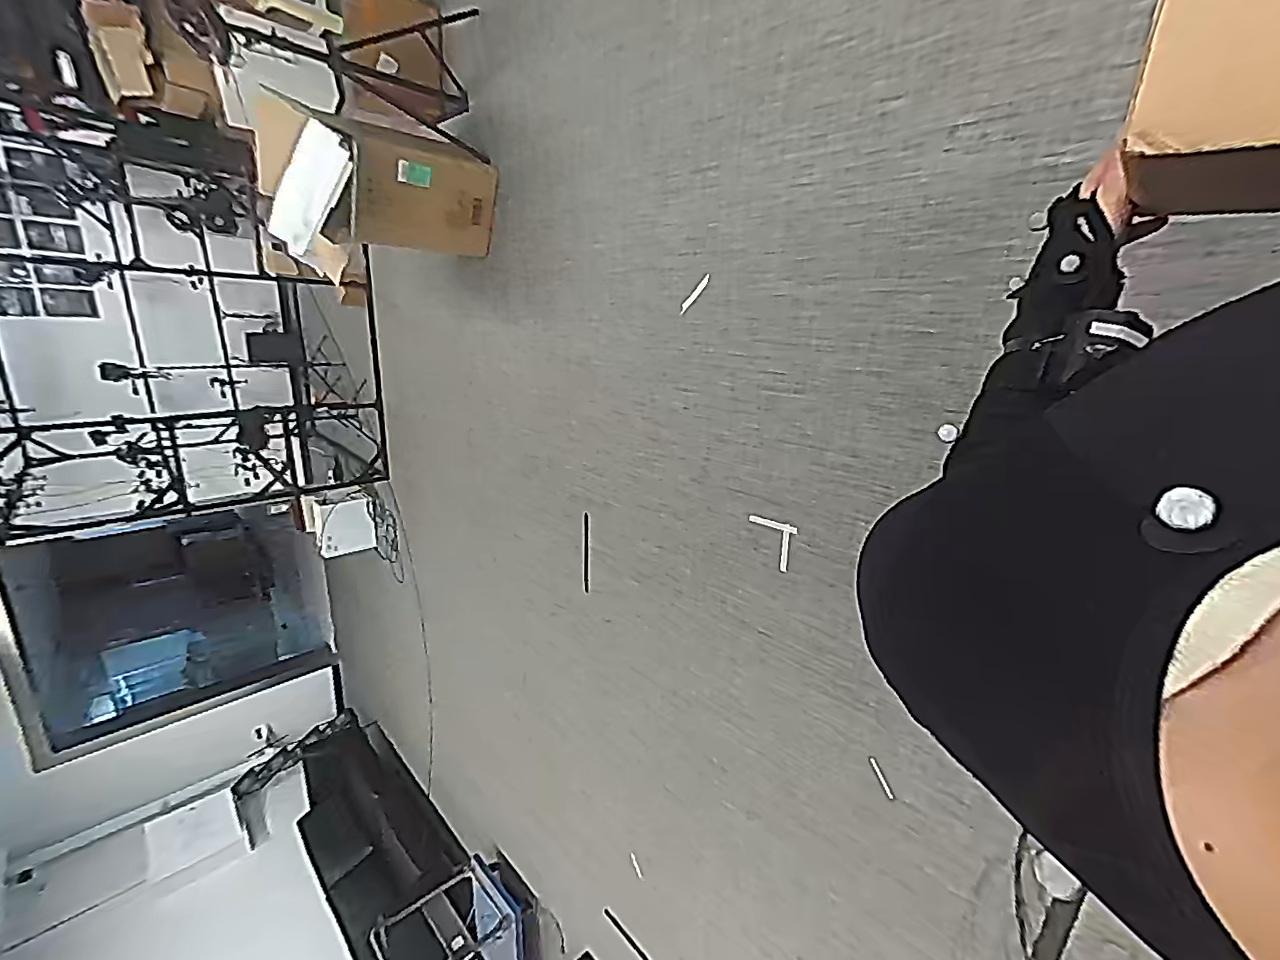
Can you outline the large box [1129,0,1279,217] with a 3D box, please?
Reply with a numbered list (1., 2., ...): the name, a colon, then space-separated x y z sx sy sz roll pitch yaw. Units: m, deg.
1. large box: 0.468 -0.286 0.182 0.408 0.320 0.320 17 117 37
